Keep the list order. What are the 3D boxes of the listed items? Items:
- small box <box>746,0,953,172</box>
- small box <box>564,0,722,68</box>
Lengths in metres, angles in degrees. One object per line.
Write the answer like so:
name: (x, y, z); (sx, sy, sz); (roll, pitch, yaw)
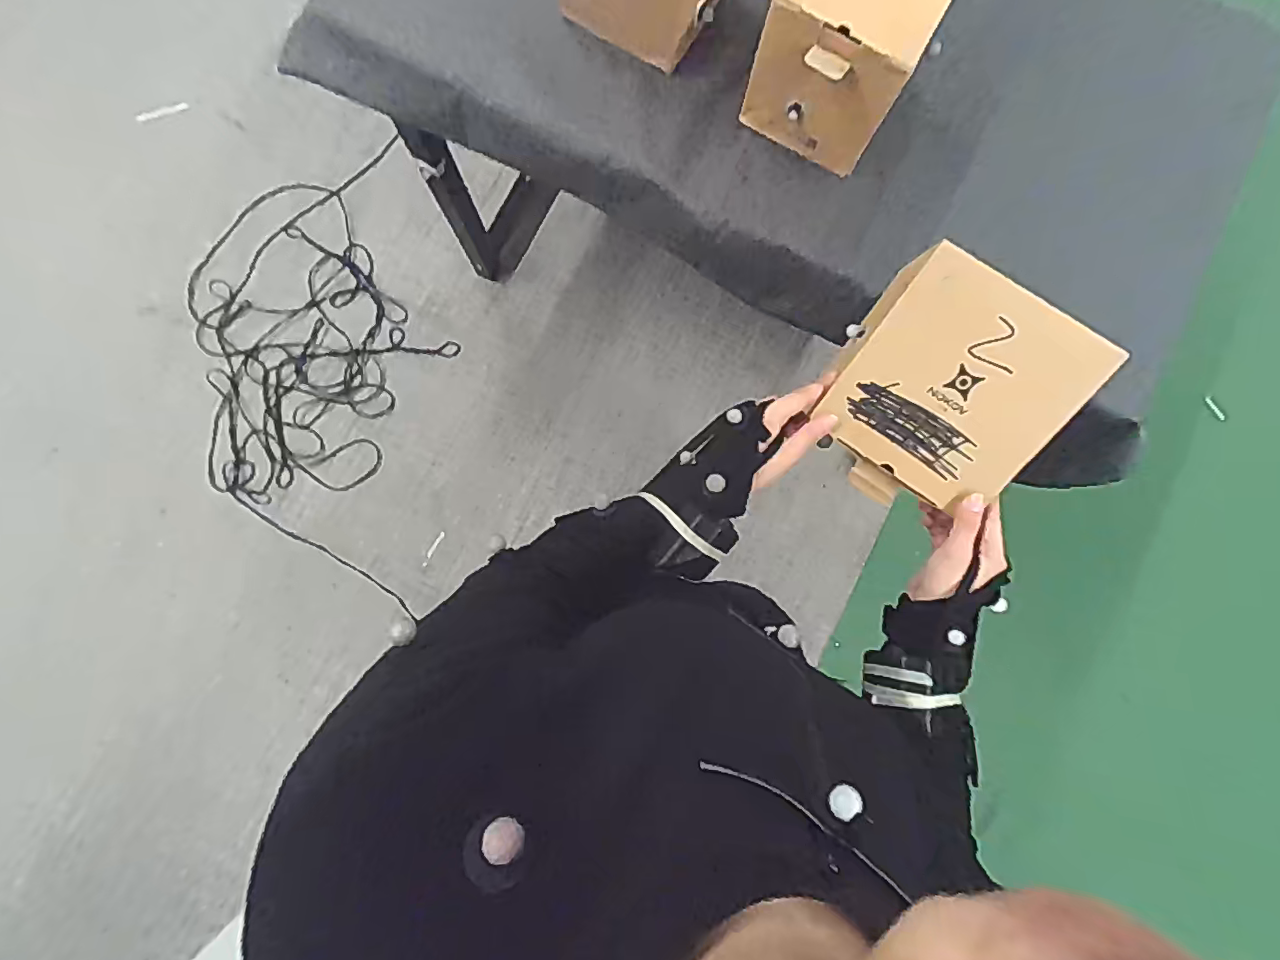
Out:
small box: (0.245, -0.520, 0.641); (0.168, 0.176, 0.179); (29, 84, 1)
small box: (0.011, -0.654, 0.647); (0.179, 0.176, 0.168); (29, 85, 0)
